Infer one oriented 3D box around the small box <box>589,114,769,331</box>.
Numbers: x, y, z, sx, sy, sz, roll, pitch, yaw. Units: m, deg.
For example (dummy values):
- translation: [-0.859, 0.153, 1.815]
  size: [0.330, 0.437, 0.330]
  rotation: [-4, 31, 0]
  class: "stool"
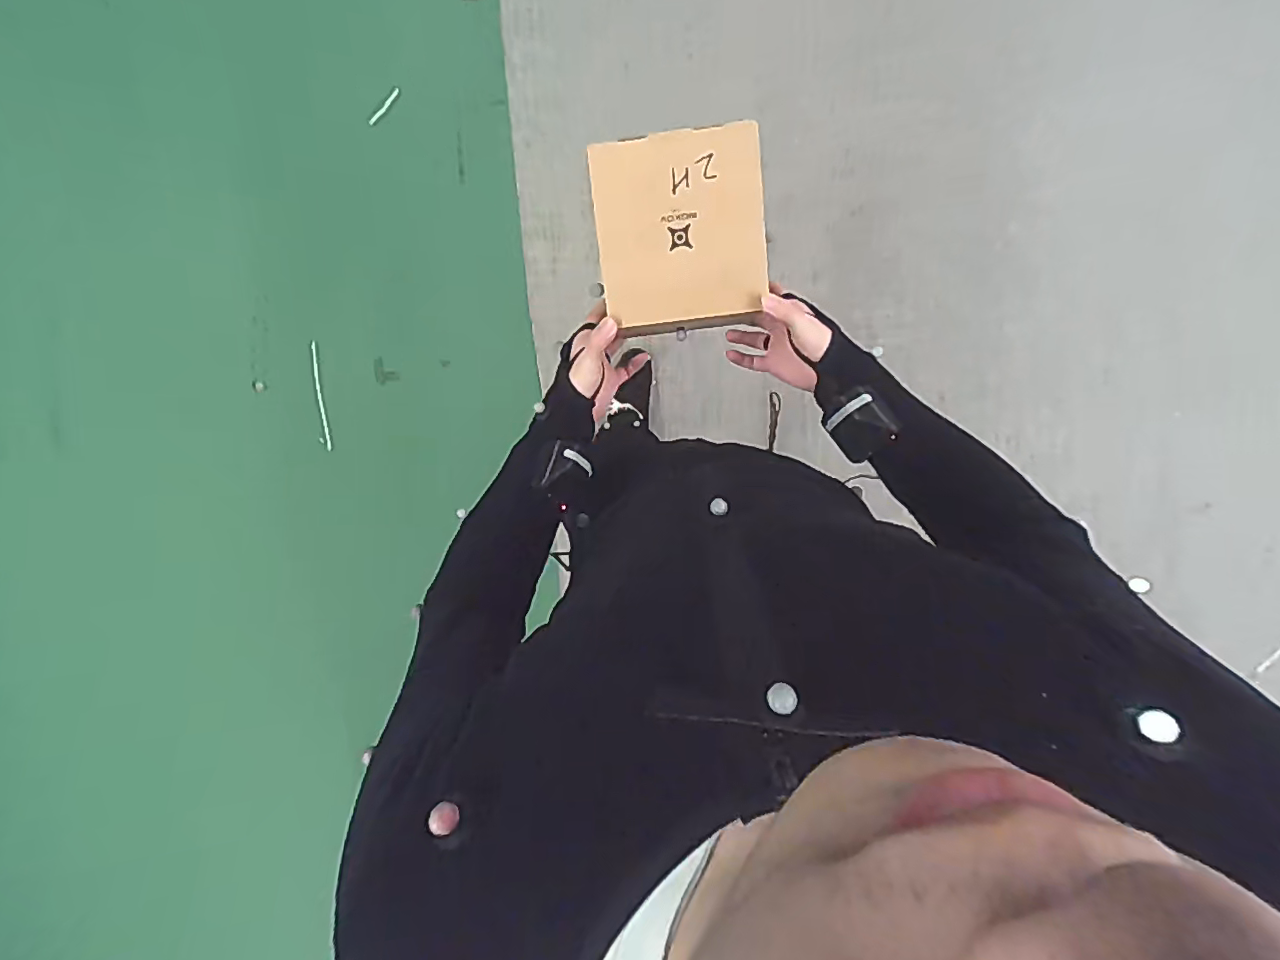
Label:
- translation: [0.042, -0.261, 0.593]
  size: [0.168, 0.176, 0.179]
  rotation: [-5, 100, 2]
  class: "small box"
